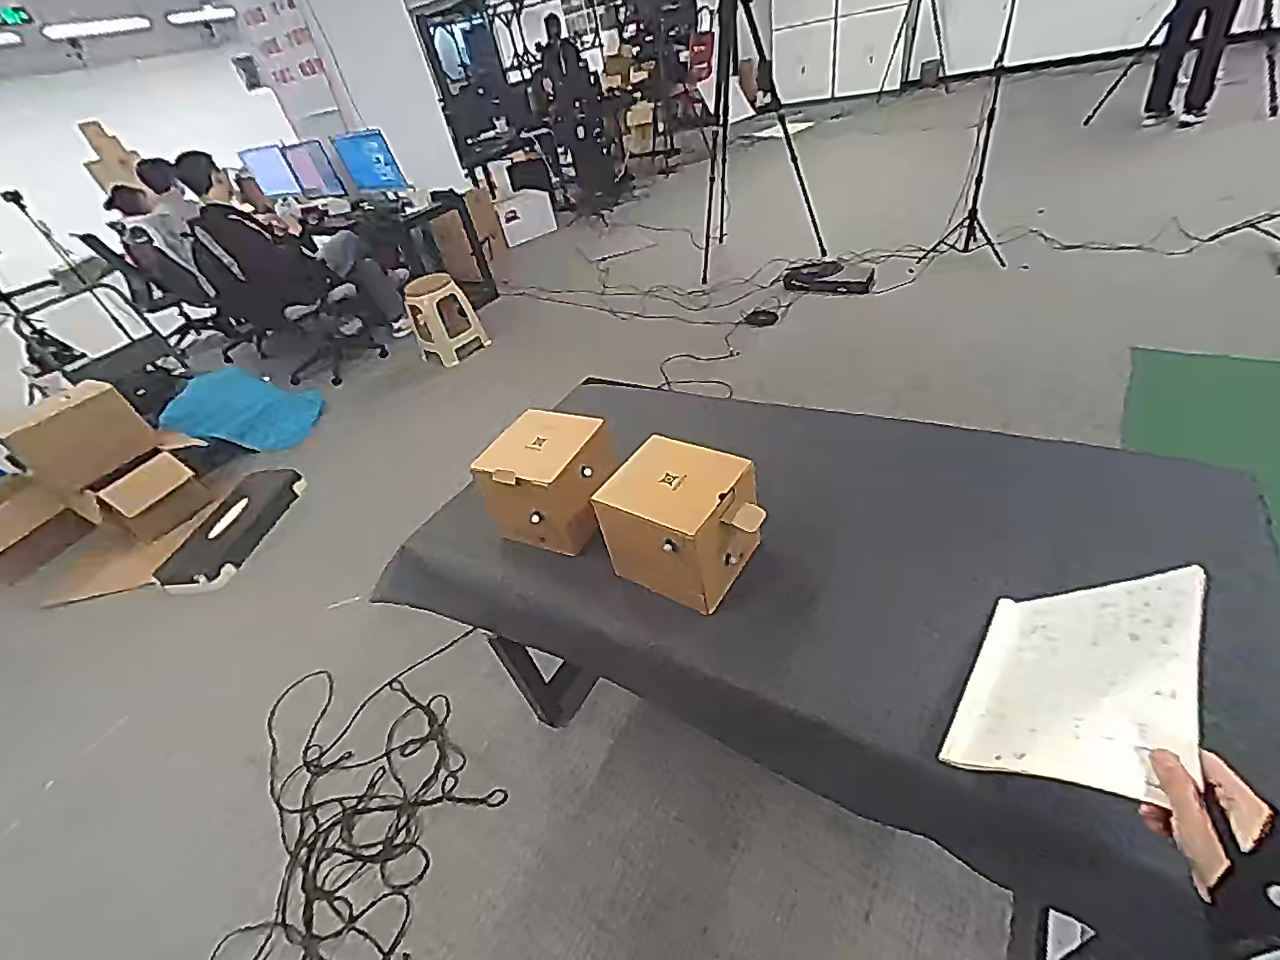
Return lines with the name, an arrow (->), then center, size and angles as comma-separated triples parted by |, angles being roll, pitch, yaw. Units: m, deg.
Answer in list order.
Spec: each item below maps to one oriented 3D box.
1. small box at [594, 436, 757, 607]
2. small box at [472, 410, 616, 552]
small box -> 0.061, 0.060, 0.810 | 0.179, 0.176, 0.168 | 18, 48, 33
small box -> -0.152, 0.001, 0.945 | 0.168, 0.176, 0.179 | 11, 44, 26
